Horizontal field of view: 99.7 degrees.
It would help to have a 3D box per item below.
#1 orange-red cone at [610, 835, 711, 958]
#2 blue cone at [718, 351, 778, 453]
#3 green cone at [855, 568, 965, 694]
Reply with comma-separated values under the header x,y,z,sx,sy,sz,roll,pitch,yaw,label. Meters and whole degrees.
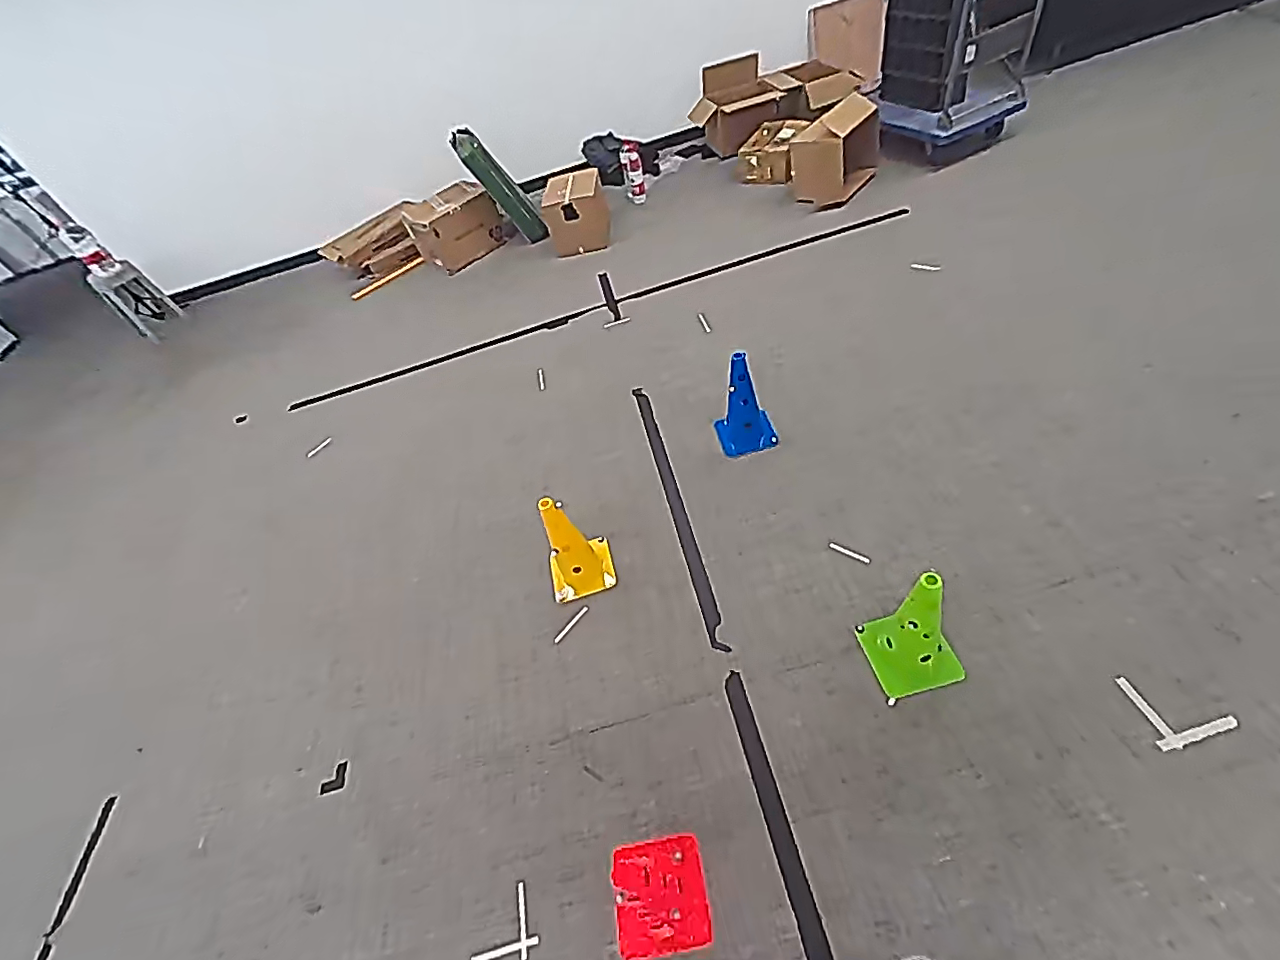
x,y,z,sx,sy,sz,roll,pitch,yaw,label
0.004,0.776,1.039,0.199,0.360,0.198,-15,46,5,orange-red cone
0.361,-0.283,1.882,0.192,0.380,0.193,-13,48,3,blue cone
0.645,0.320,1.248,0.202,0.368,0.200,-16,47,1,green cone
